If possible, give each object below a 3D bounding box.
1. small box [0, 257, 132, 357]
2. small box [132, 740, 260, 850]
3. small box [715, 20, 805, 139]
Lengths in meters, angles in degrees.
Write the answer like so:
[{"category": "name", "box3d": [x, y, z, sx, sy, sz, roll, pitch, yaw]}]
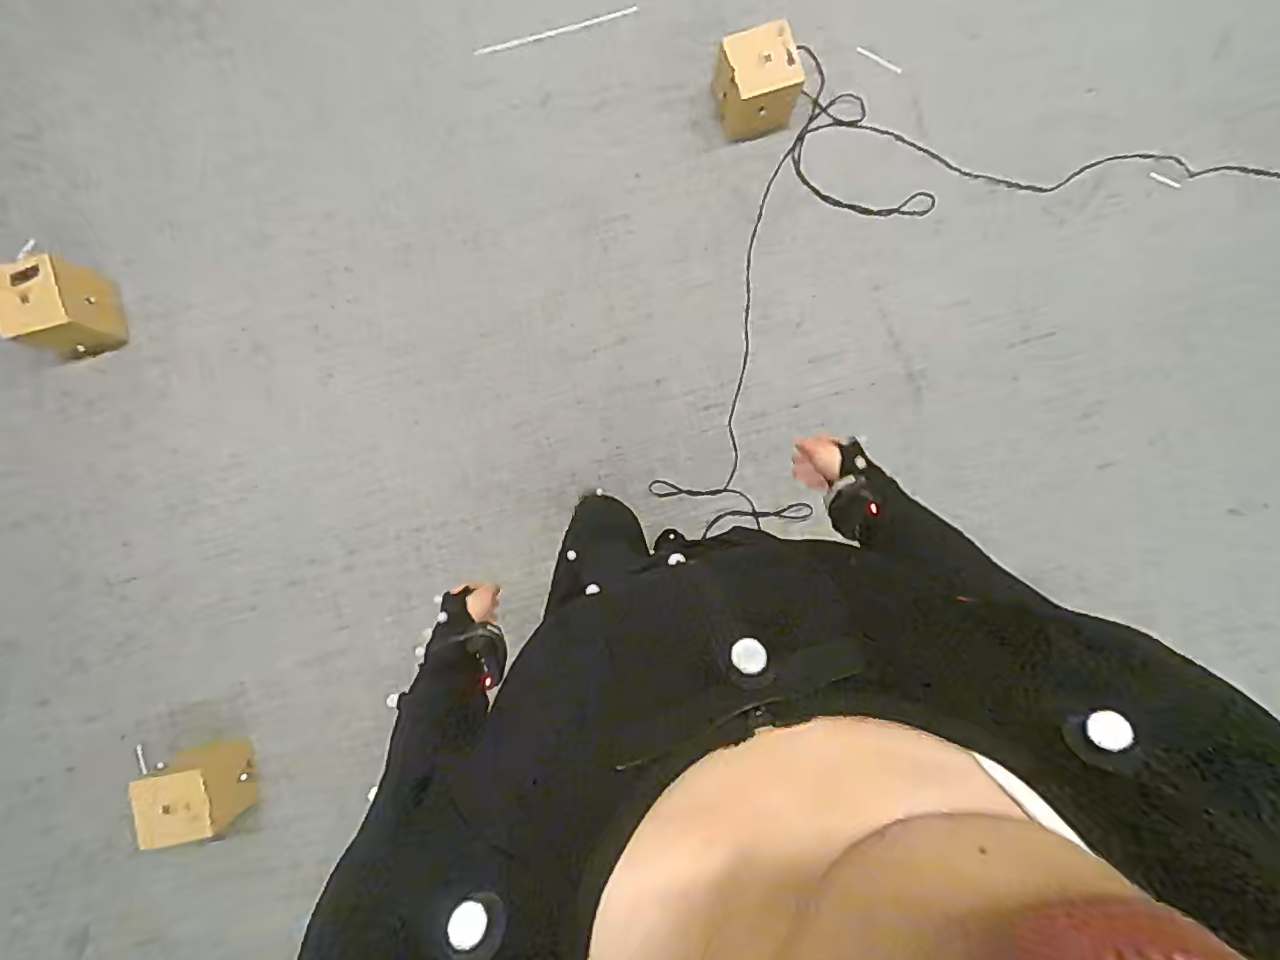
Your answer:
[{"category": "small box", "box3d": [-1.469, -0.436, 1.385, 0.168, 0.176, 0.179, -15, 90, -2]}, {"category": "small box", "box3d": [-1.107, 0.782, 1.359, 0.179, 0.176, 0.168, -10, 89, -2]}, {"category": "small box", "box3d": [0.306, -1.043, 1.426, 0.179, 0.176, 0.168, -19, 90, -1]}]
